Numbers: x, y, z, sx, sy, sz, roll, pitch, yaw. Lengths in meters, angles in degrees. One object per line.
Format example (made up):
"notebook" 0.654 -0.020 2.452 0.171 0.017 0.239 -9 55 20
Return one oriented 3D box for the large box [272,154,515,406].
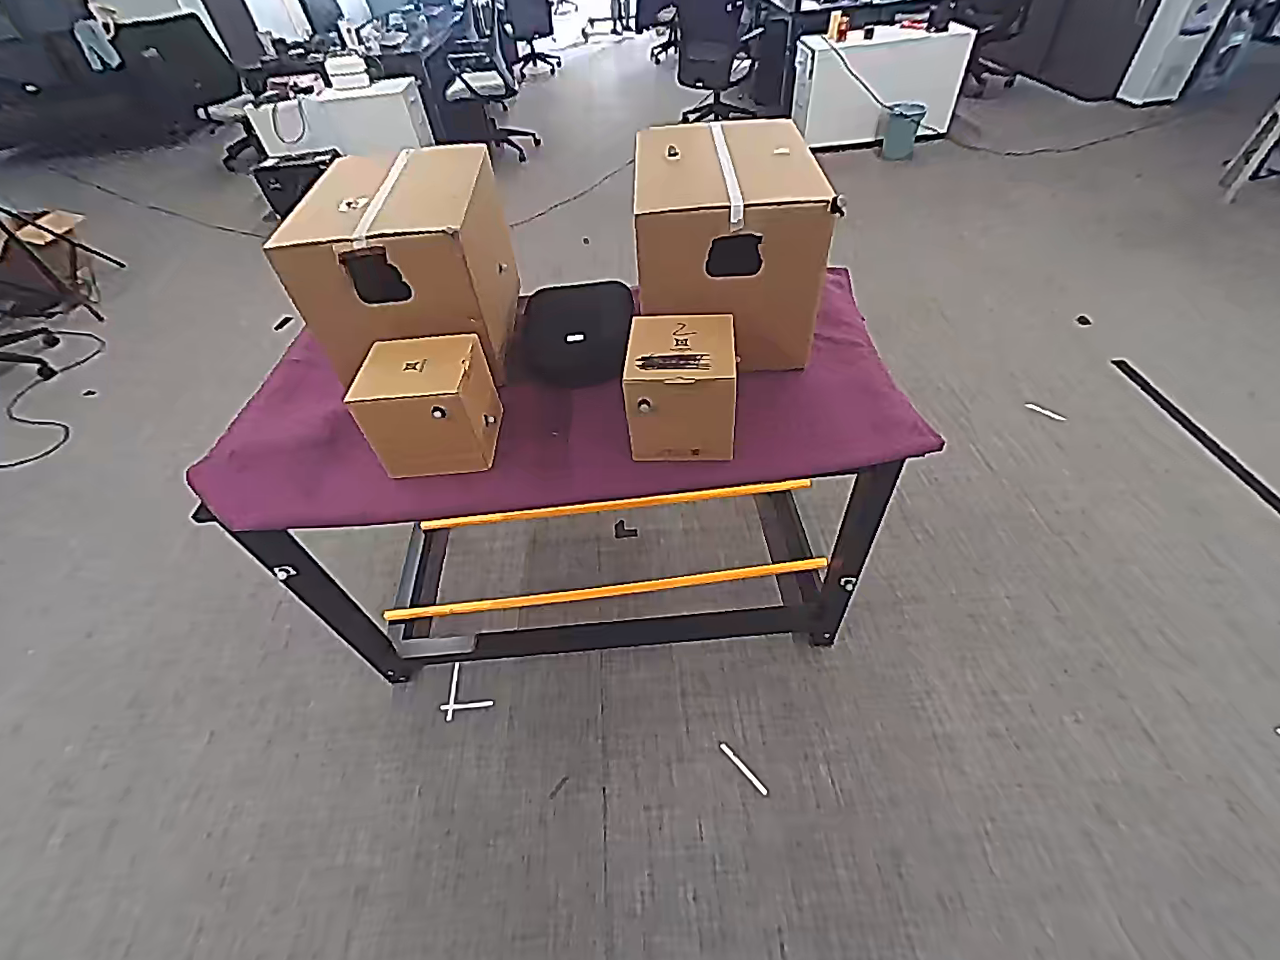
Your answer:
"large box" -0.442 -0.408 1.092 0.320 0.320 0.408 -7 50 0
